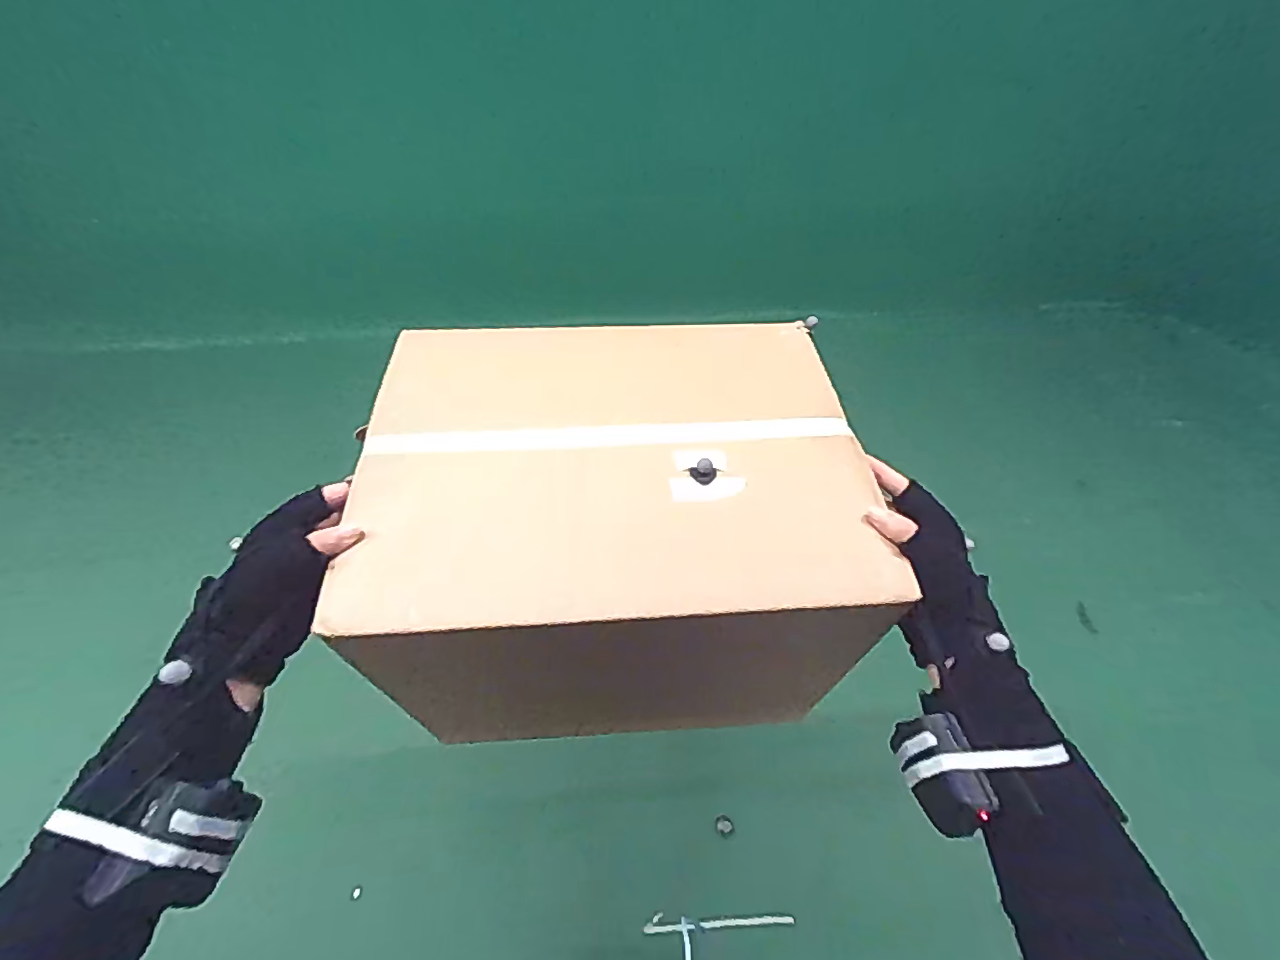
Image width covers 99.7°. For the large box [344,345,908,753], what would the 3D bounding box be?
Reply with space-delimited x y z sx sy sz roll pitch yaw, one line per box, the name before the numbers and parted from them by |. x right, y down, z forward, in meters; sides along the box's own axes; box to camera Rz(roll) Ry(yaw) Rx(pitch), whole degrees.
large box | -0.022 0.075 0.580 0.408 0.320 0.320 -2 52 -5
